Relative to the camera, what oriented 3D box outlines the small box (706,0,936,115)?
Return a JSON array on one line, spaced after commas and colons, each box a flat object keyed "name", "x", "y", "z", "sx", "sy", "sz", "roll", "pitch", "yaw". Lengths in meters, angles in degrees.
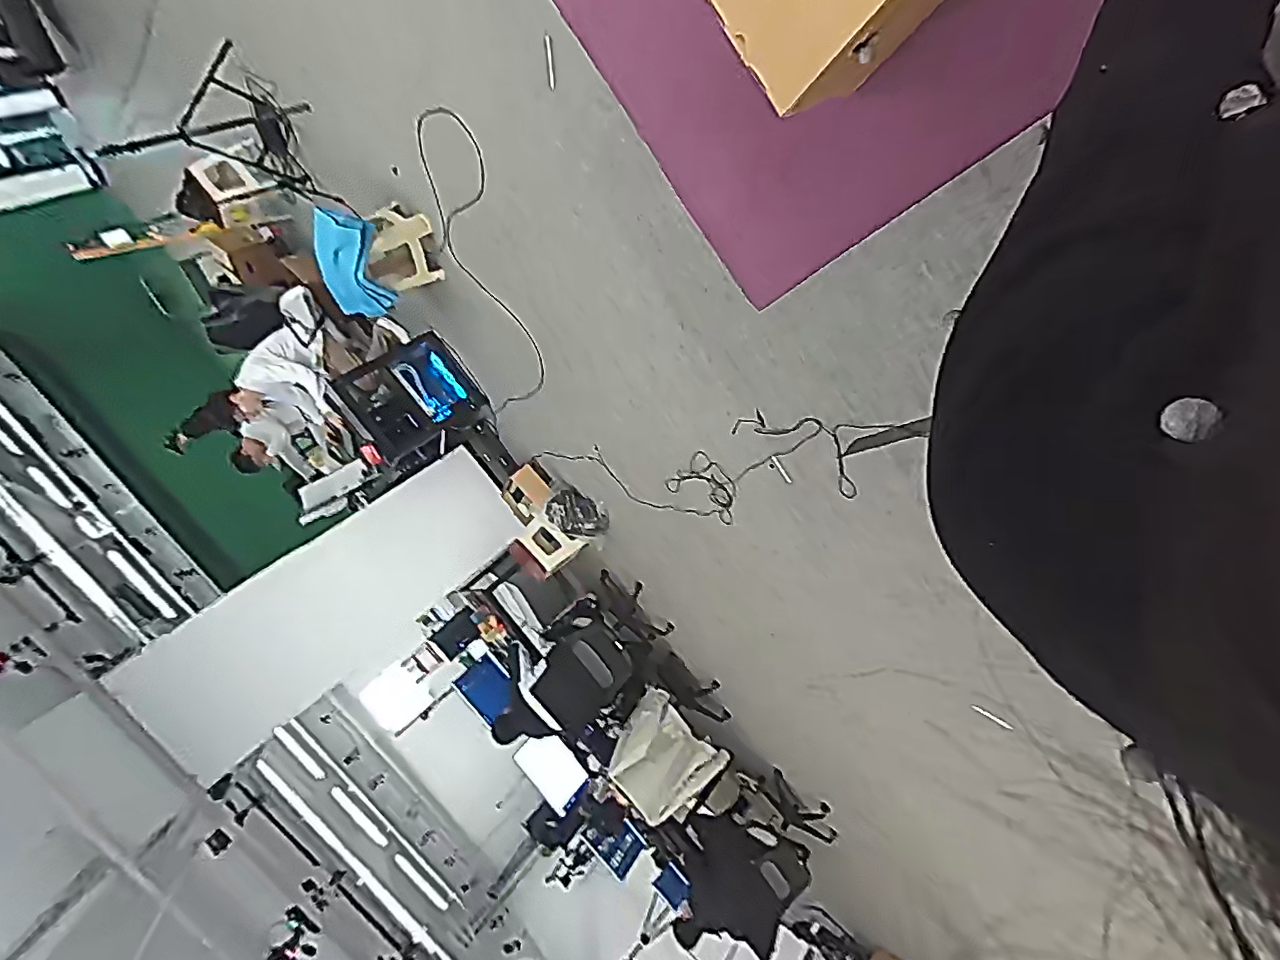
[{"name": "small box", "x": 0.190, "y": -0.503, "z": 0.517, "sx": 0.168, "sy": 0.176, "sz": 0.179, "roll": 54, "pitch": 149, "yaw": -8}]
